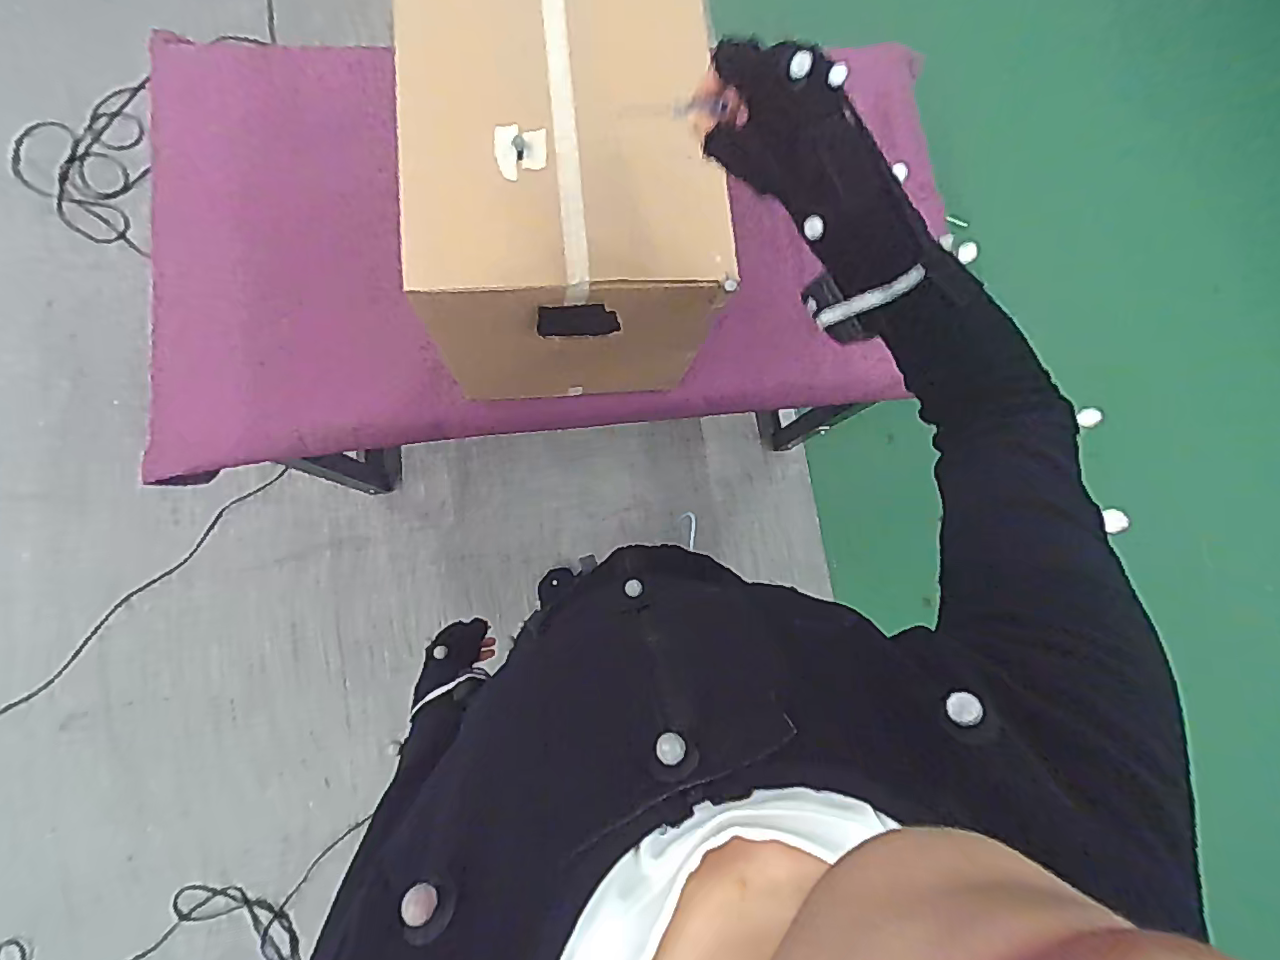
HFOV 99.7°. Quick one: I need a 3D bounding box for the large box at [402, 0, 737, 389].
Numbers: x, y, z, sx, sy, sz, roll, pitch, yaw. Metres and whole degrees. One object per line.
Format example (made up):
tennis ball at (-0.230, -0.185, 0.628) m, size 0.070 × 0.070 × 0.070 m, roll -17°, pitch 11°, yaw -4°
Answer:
large box at (-0.094, -0.359, 0.690) m, size 0.320 × 0.320 × 0.408 m, roll -4°, pitch 82°, yaw -8°
